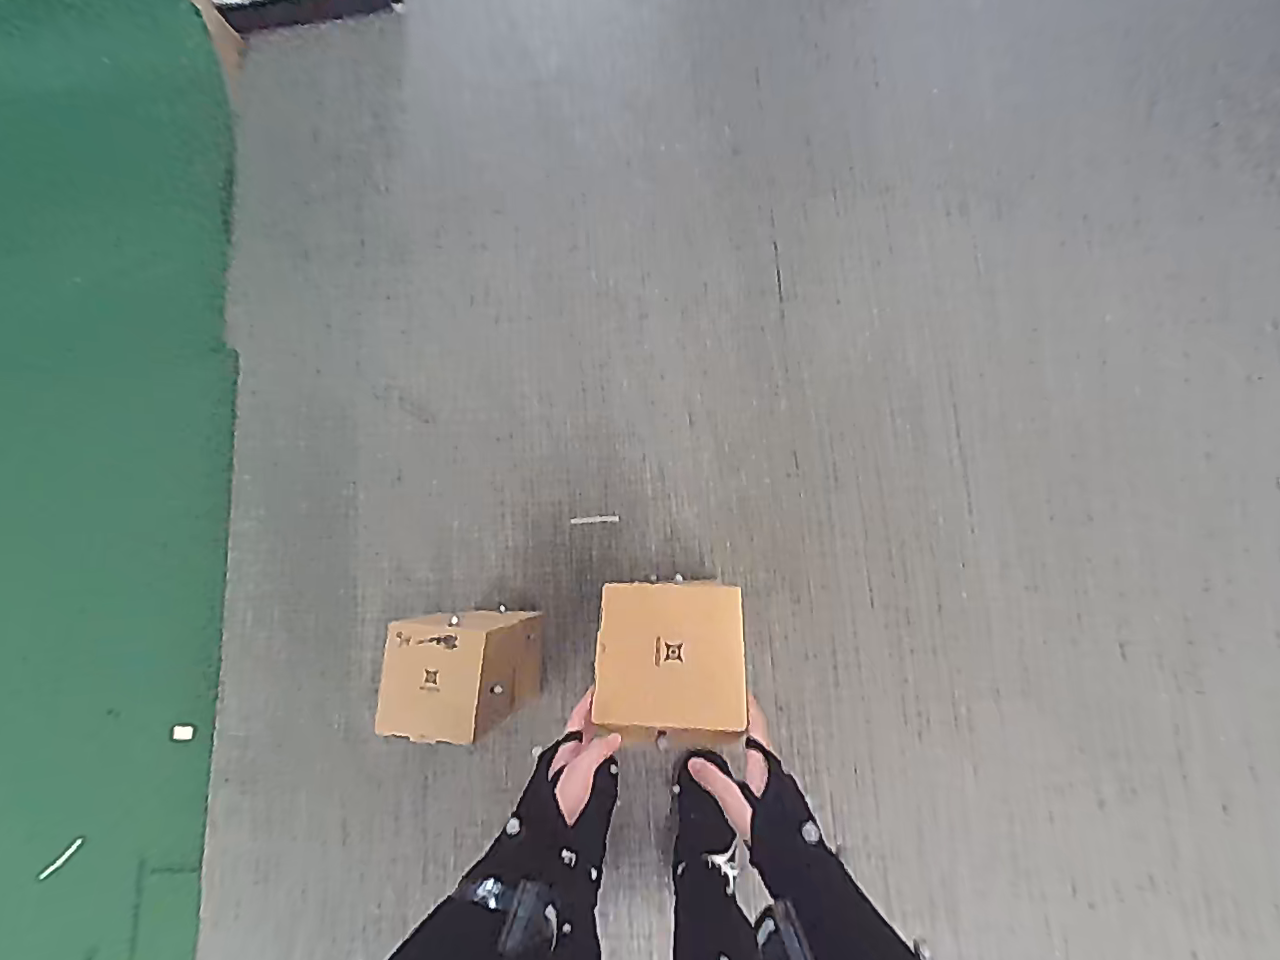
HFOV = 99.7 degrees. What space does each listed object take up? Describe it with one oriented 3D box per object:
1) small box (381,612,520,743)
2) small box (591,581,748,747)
[{"bbox_3d":[-0.318,0.332,0.941,0.168,0.176,0.179,4,81,6],"label":"small box"},{"bbox_3d":[0.041,0.244,0.706,0.179,0.176,0.168,0,54,6],"label":"small box"}]
